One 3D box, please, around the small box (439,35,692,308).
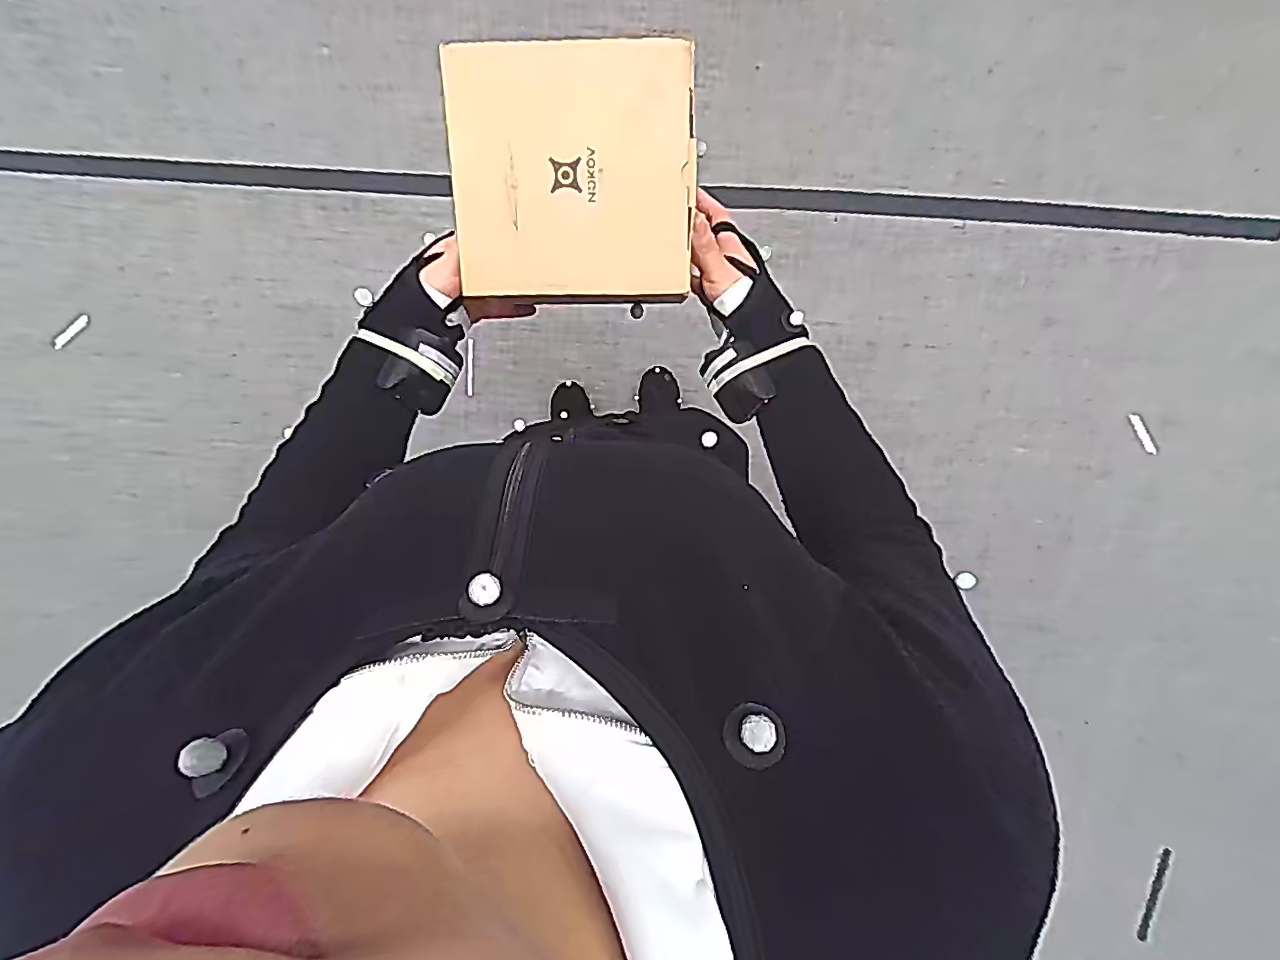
[{"bbox_3d":[-0.048,-0.241,0.464,0.179,0.176,0.168,0,104,4],"label":"small box"}]
